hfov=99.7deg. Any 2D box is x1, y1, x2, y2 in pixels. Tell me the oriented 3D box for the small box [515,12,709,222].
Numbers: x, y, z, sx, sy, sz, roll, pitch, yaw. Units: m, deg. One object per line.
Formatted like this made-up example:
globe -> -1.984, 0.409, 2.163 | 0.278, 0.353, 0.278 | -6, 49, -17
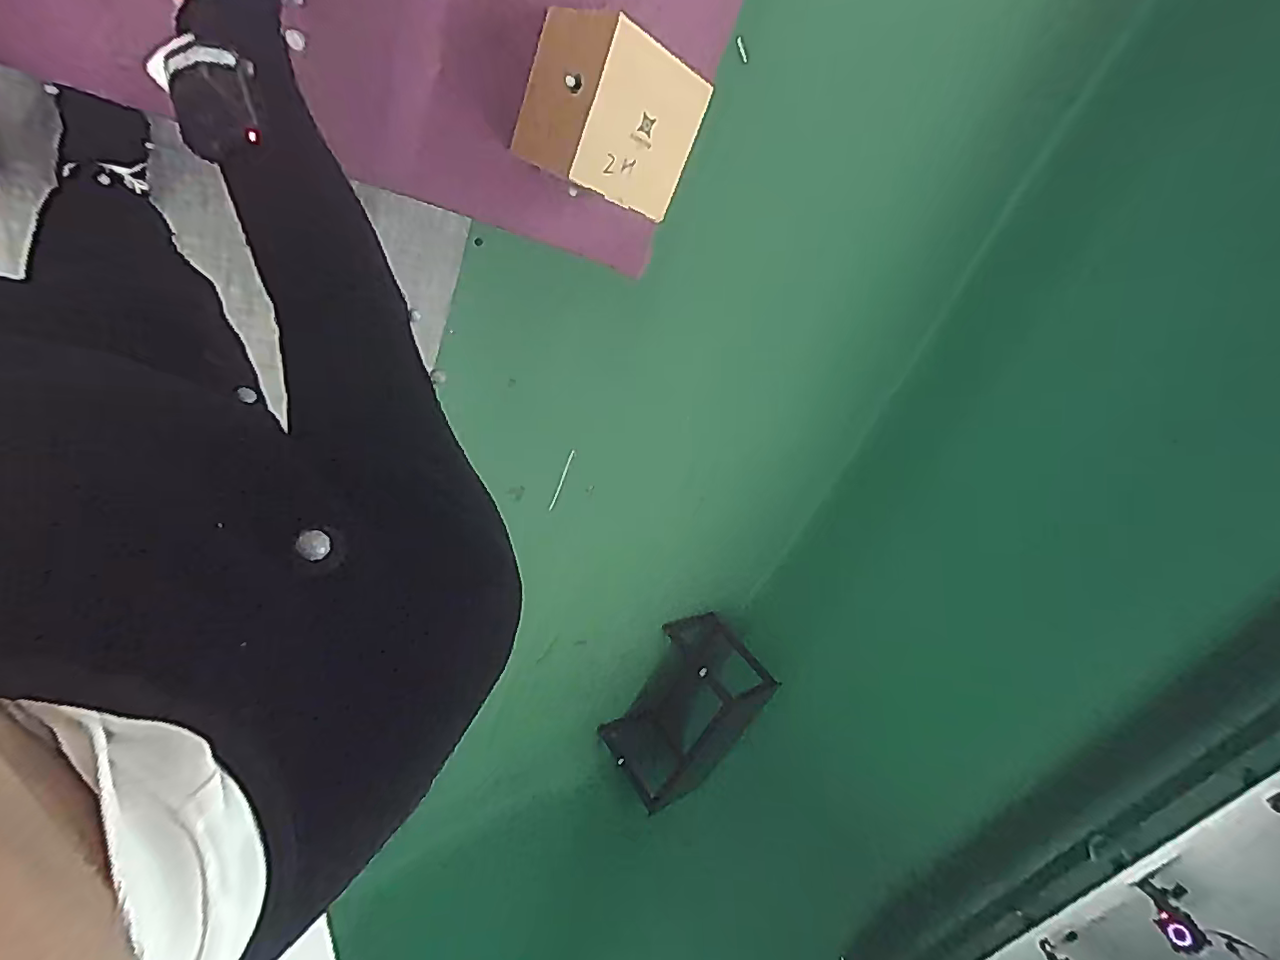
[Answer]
small box -> -0.046, -0.485, 0.727 | 0.168, 0.176, 0.179 | 0, 125, -44
